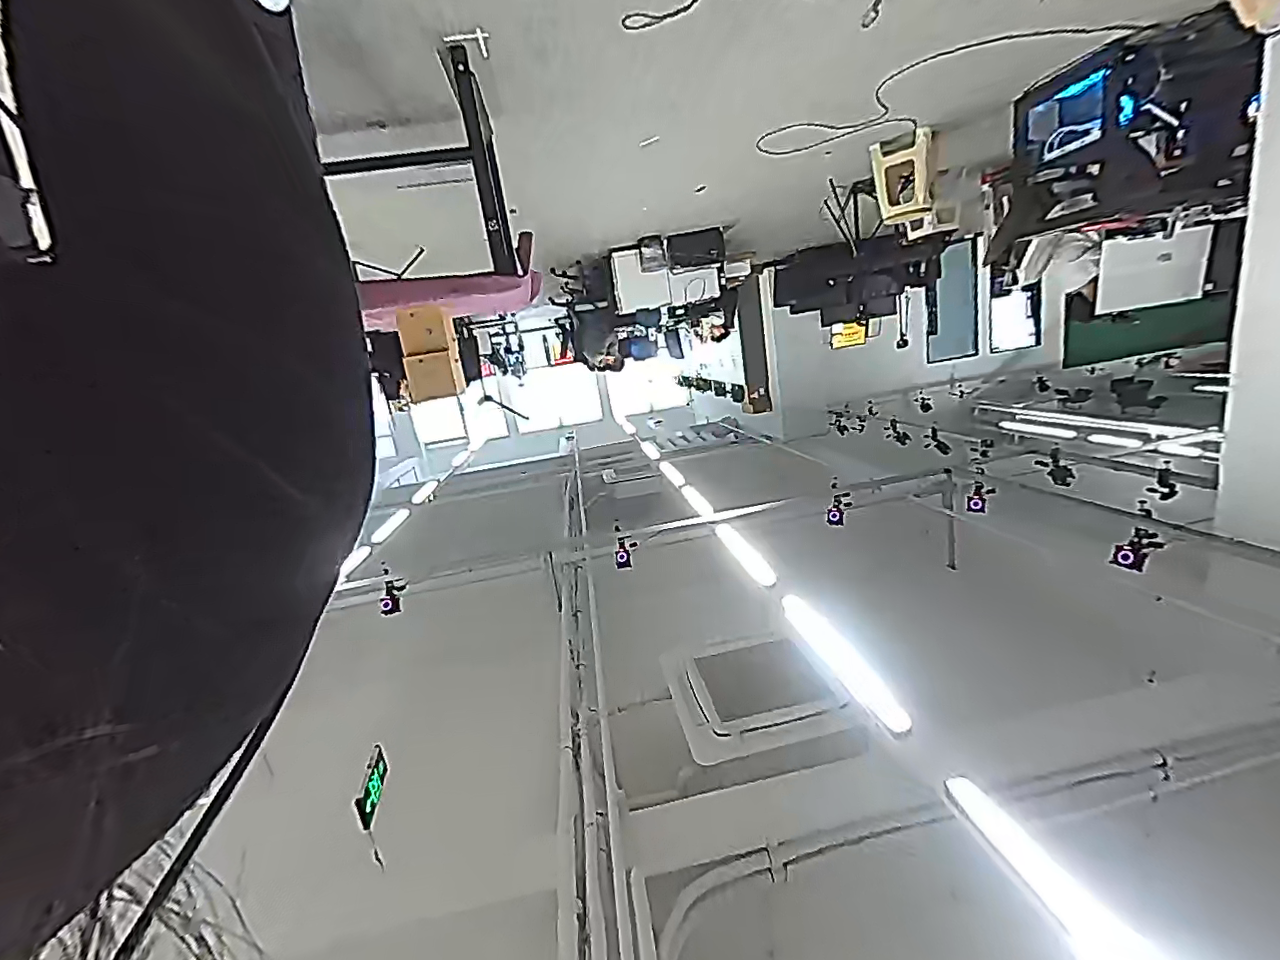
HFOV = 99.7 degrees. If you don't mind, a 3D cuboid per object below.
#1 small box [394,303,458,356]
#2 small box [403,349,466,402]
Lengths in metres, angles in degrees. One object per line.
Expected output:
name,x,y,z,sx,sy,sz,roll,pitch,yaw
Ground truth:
small box,-0.800,-0.562,2.023,0.168,0.176,0.179,-11,-166,-5
small box,-0.771,-0.399,2.037,0.168,0.176,0.179,-10,-166,-4
